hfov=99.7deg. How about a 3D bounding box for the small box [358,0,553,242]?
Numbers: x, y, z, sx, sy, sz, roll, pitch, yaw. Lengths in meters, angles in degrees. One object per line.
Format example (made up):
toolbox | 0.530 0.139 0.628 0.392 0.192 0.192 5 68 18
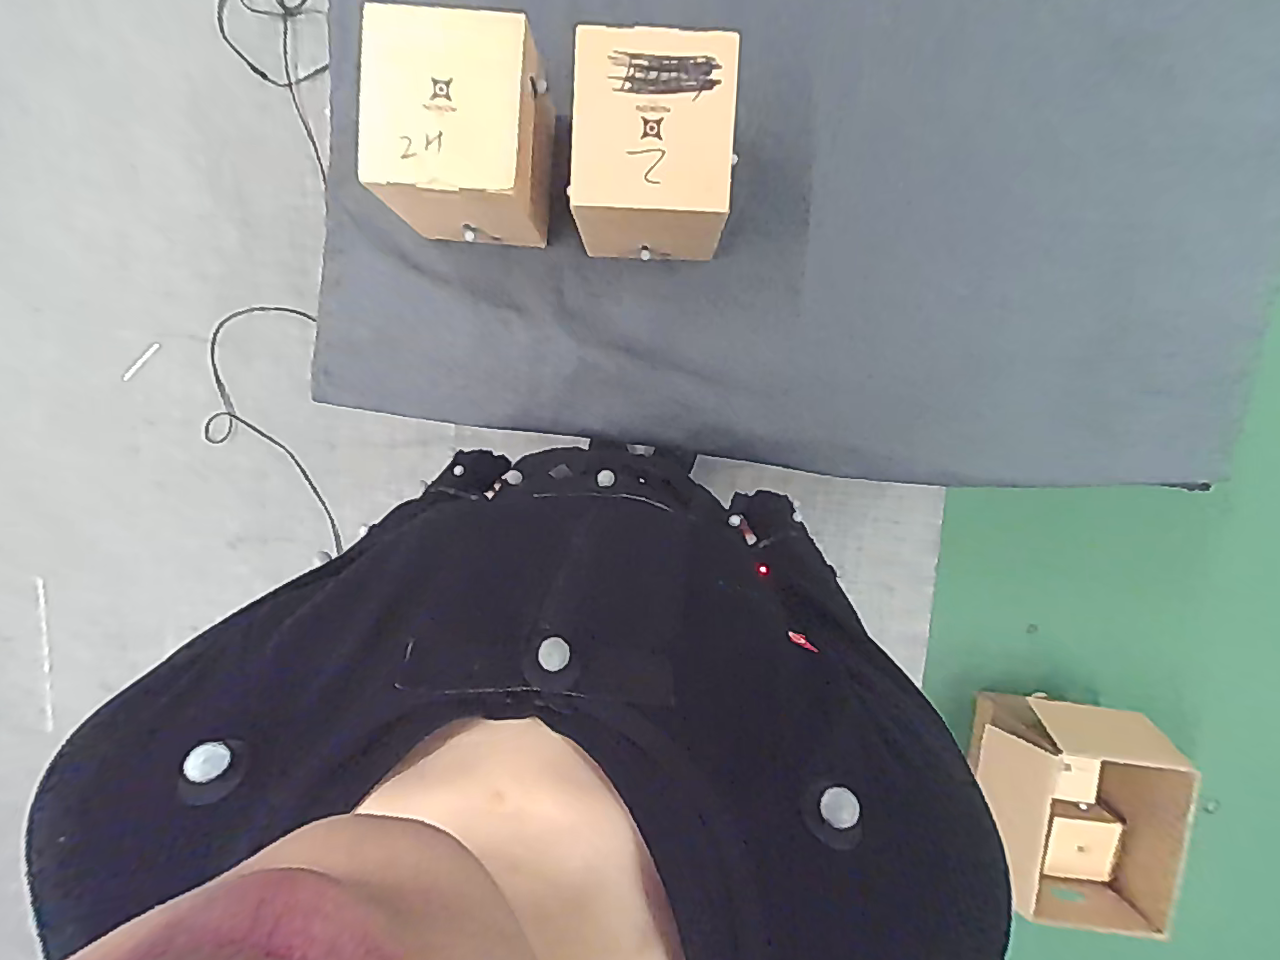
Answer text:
small box | -0.198 -0.401 0.626 0.168 0.176 0.179 5 96 1
